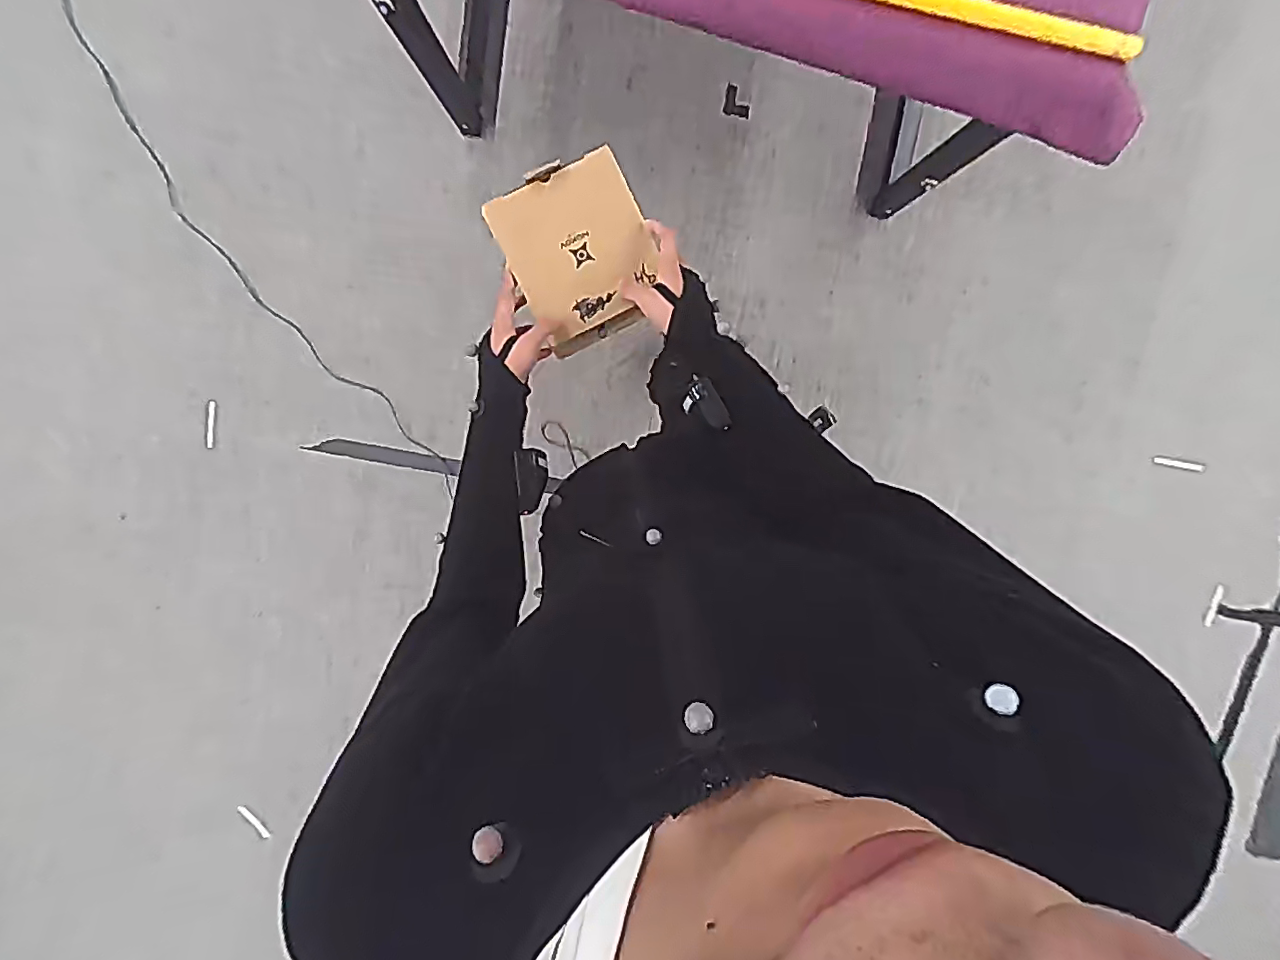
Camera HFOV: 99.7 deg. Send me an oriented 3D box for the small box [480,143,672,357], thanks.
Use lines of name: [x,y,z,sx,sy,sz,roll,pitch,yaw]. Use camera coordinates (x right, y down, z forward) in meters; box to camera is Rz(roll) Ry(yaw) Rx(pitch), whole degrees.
small box: [-0.080,-0.276,0.692,0.168,0.176,0.179,-27,99,-2]
